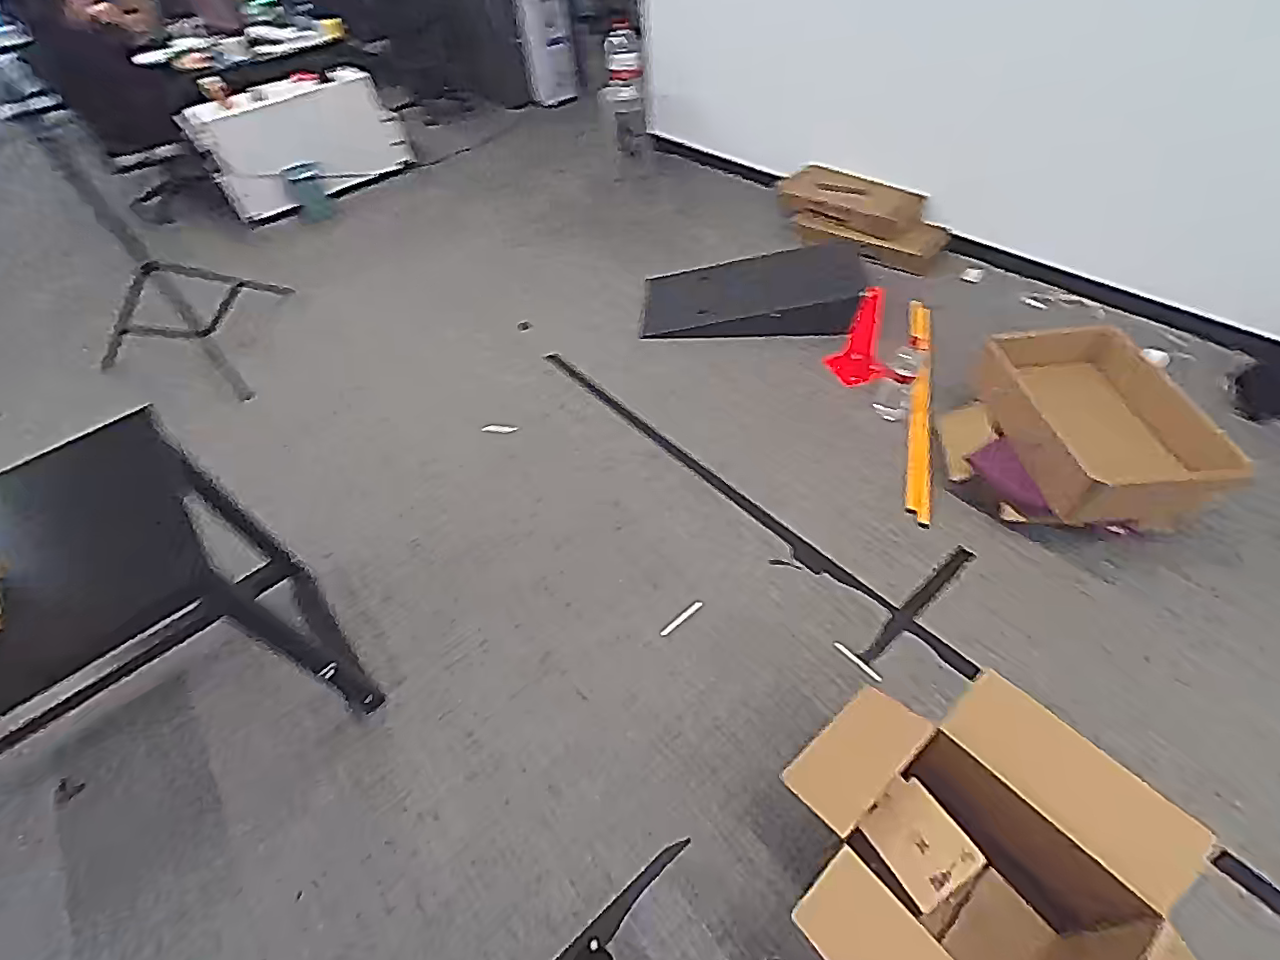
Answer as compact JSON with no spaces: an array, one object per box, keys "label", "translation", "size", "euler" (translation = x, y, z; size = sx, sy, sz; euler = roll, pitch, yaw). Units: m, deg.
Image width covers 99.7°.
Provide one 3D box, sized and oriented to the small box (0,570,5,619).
[{"label":"small box","translation":[-1.176,0.200,0.852],"size":[0.179,0.176,0.168],"euler":[-36,55,-22]}]
